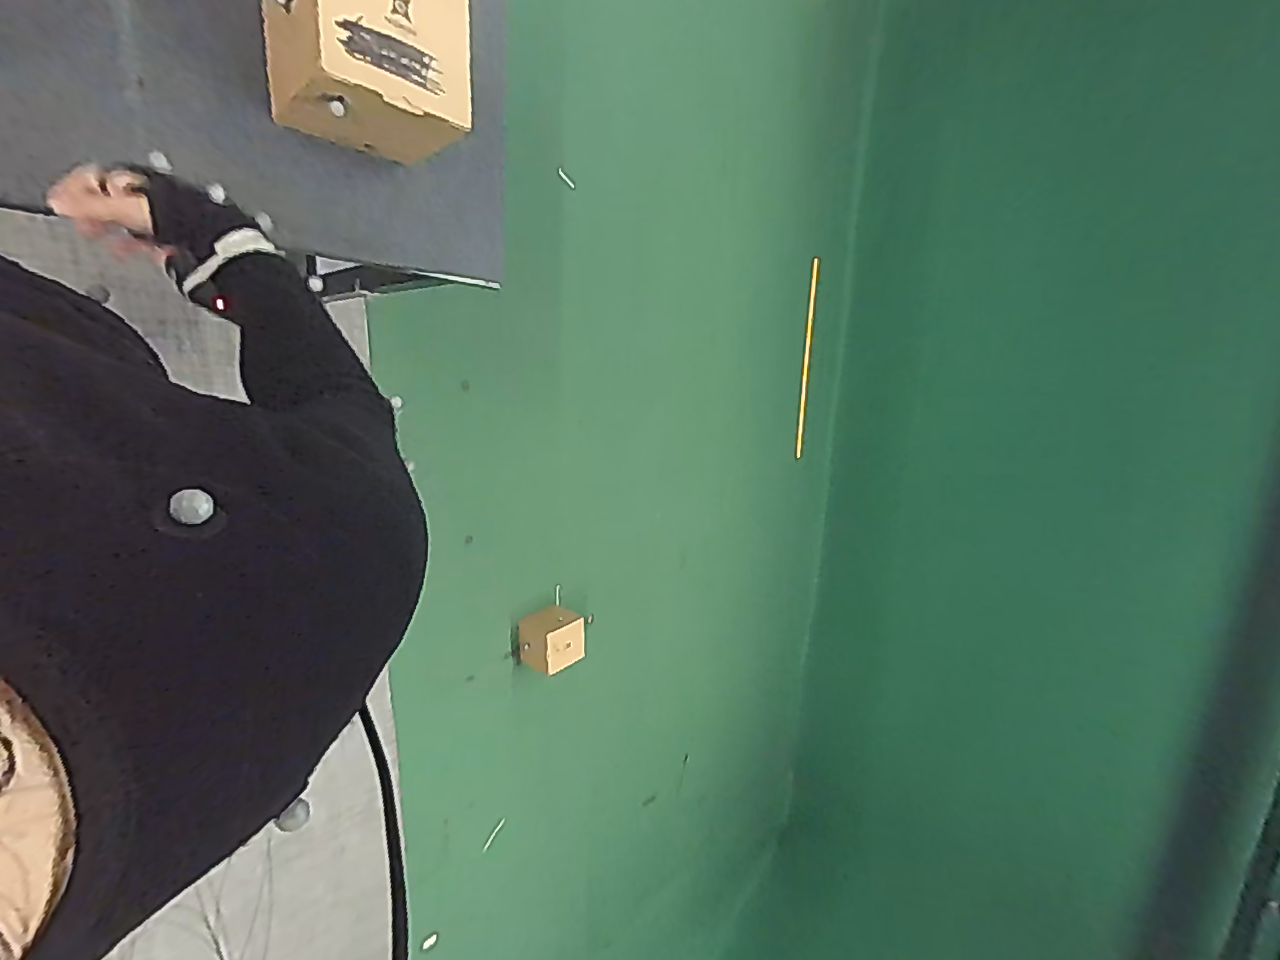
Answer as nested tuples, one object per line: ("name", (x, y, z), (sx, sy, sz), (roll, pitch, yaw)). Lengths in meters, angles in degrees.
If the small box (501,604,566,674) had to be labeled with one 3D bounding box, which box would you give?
("small box", (-0.393, 0.580, 1.999), (0.179, 0.176, 0.168), (-15, 111, -48))
